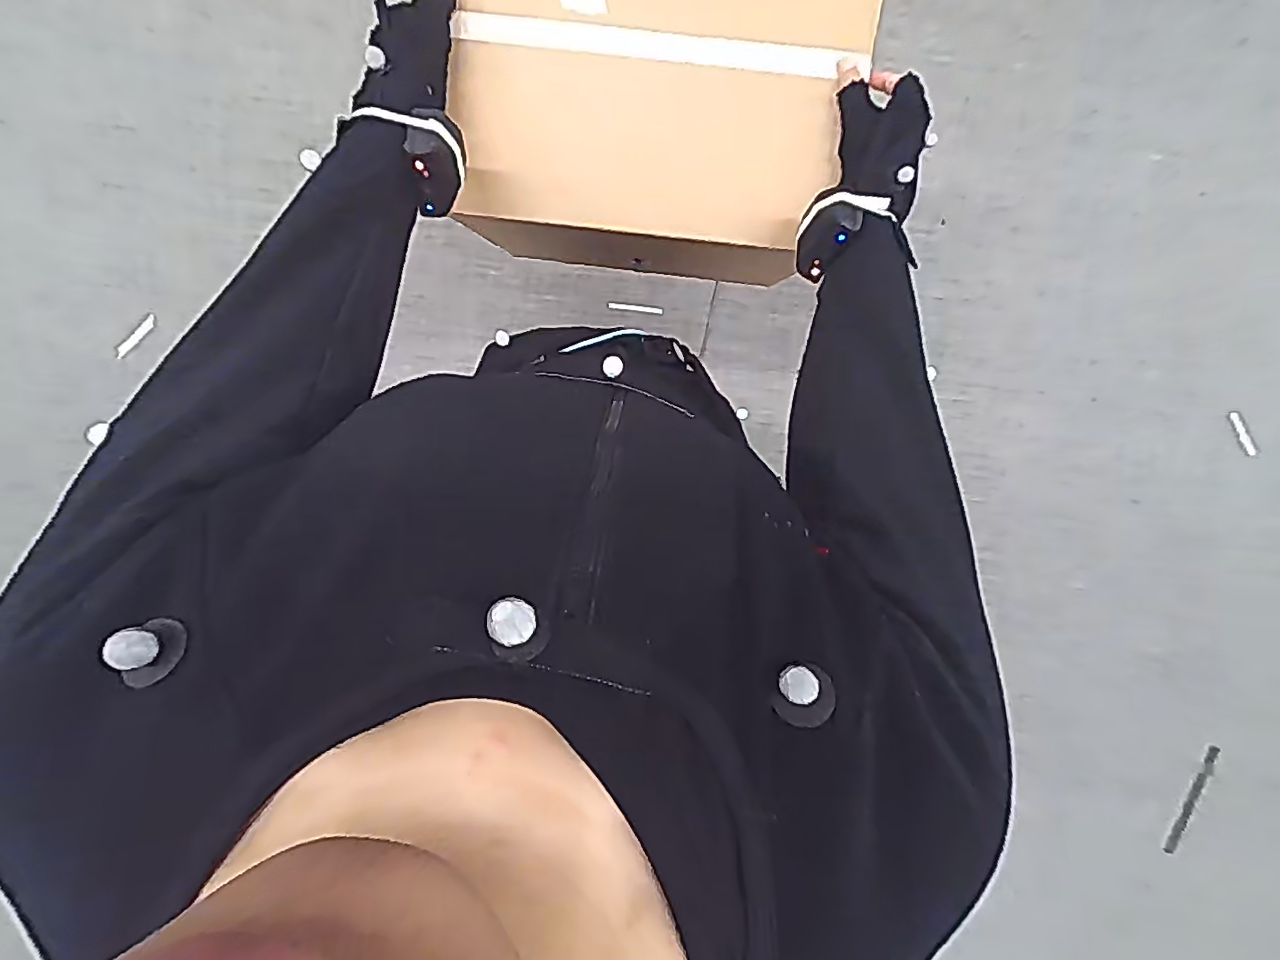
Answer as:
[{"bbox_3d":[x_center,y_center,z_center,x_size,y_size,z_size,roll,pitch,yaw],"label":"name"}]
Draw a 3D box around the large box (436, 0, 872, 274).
[{"bbox_3d":[0.015,-0.441,0.647,0.408,0.320,0.320,7,104,1],"label":"large box"}]
